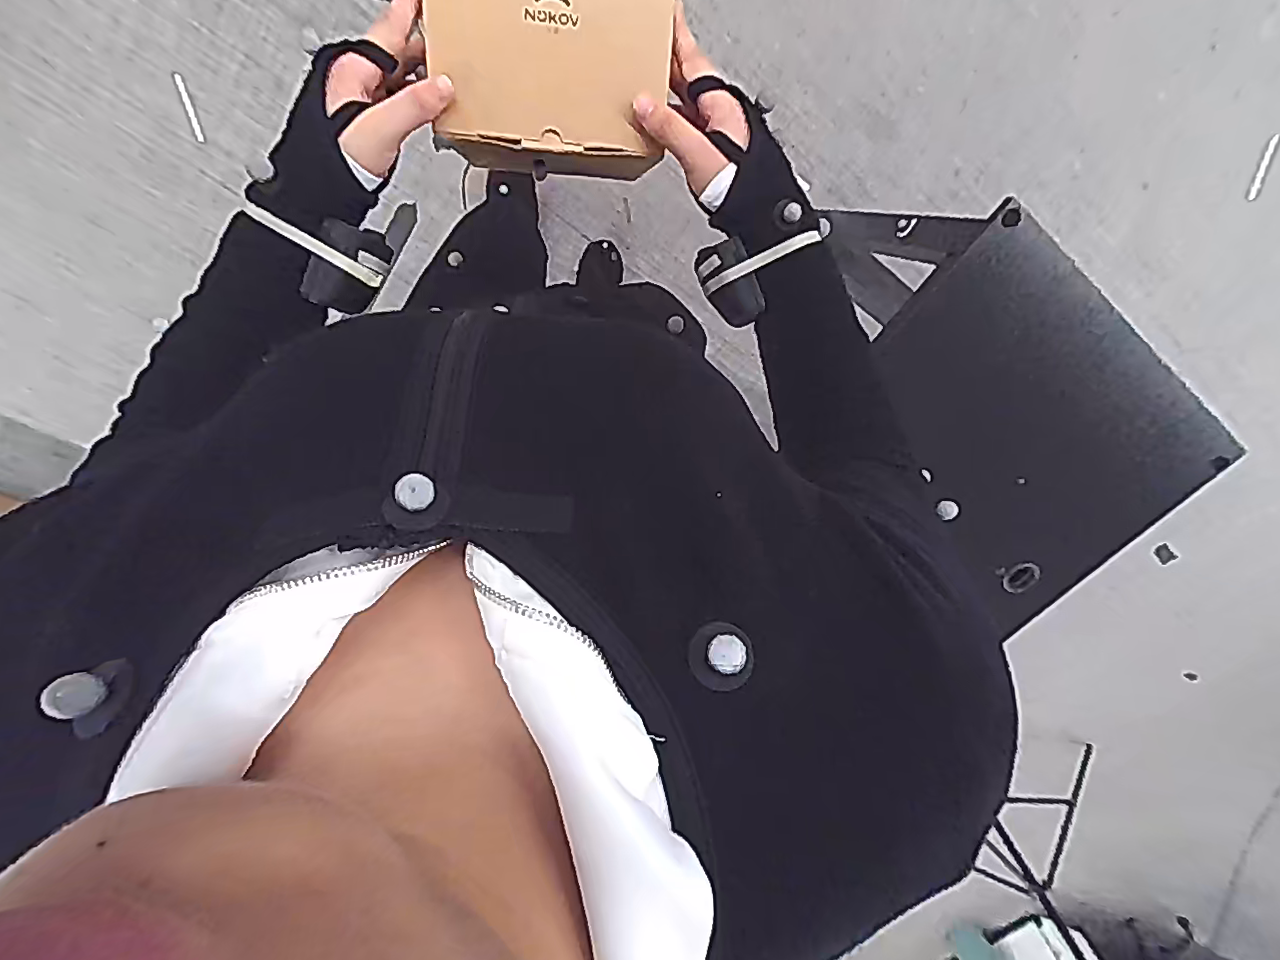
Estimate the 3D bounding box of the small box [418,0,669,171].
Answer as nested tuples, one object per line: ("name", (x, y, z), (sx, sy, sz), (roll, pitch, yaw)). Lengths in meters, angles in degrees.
("small box", (-0.072, -0.357, 0.423), (0.168, 0.176, 0.179), (1, 114, -8))
